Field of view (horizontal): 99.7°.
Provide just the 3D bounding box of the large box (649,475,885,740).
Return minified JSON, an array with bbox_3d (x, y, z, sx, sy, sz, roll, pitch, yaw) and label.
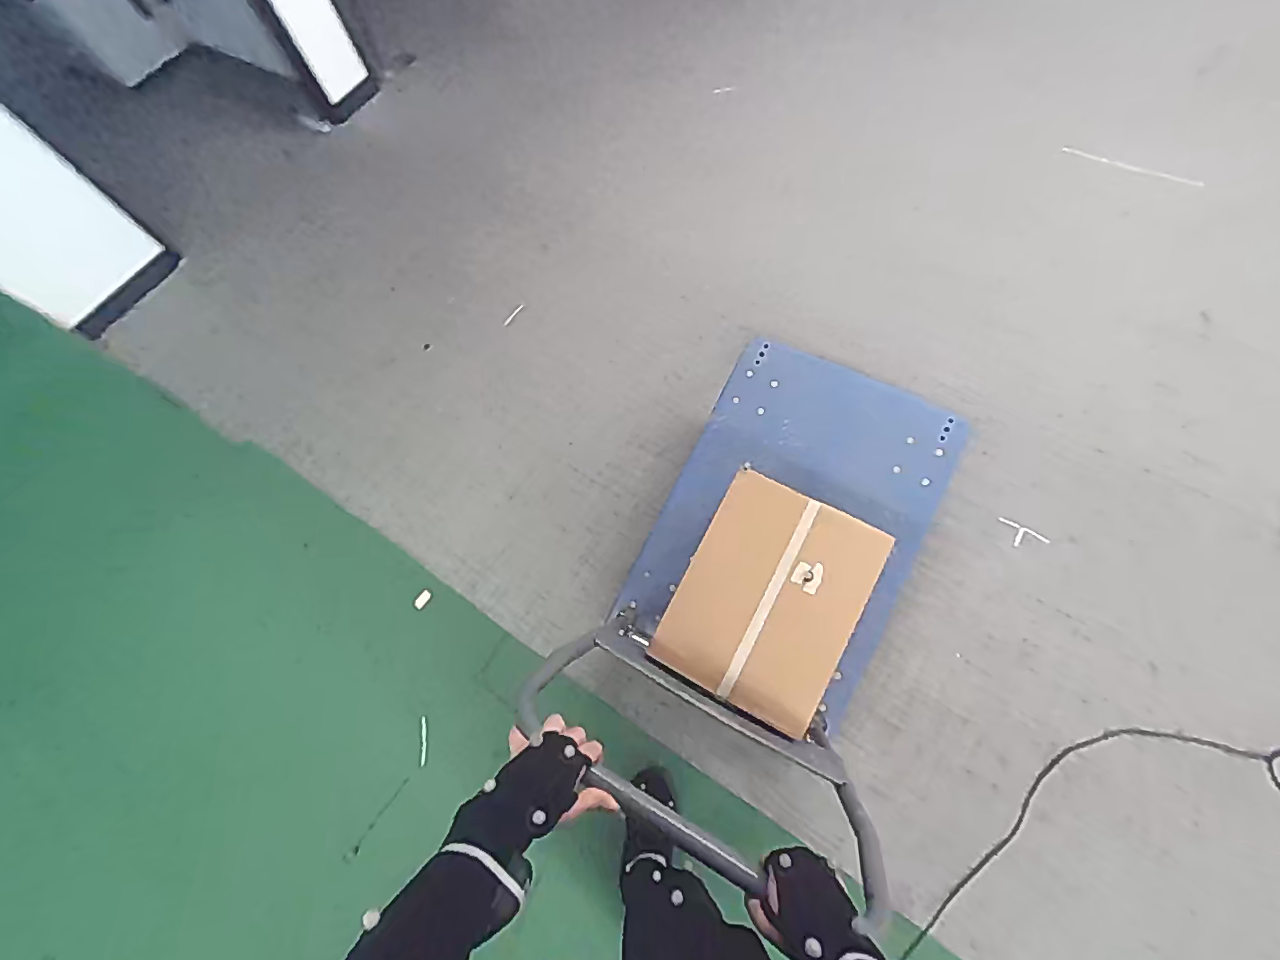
[{"bbox_3d":[0.259,0.261,1.160,0.320,0.320,0.408,27,83,13],"label":"large box"}]
